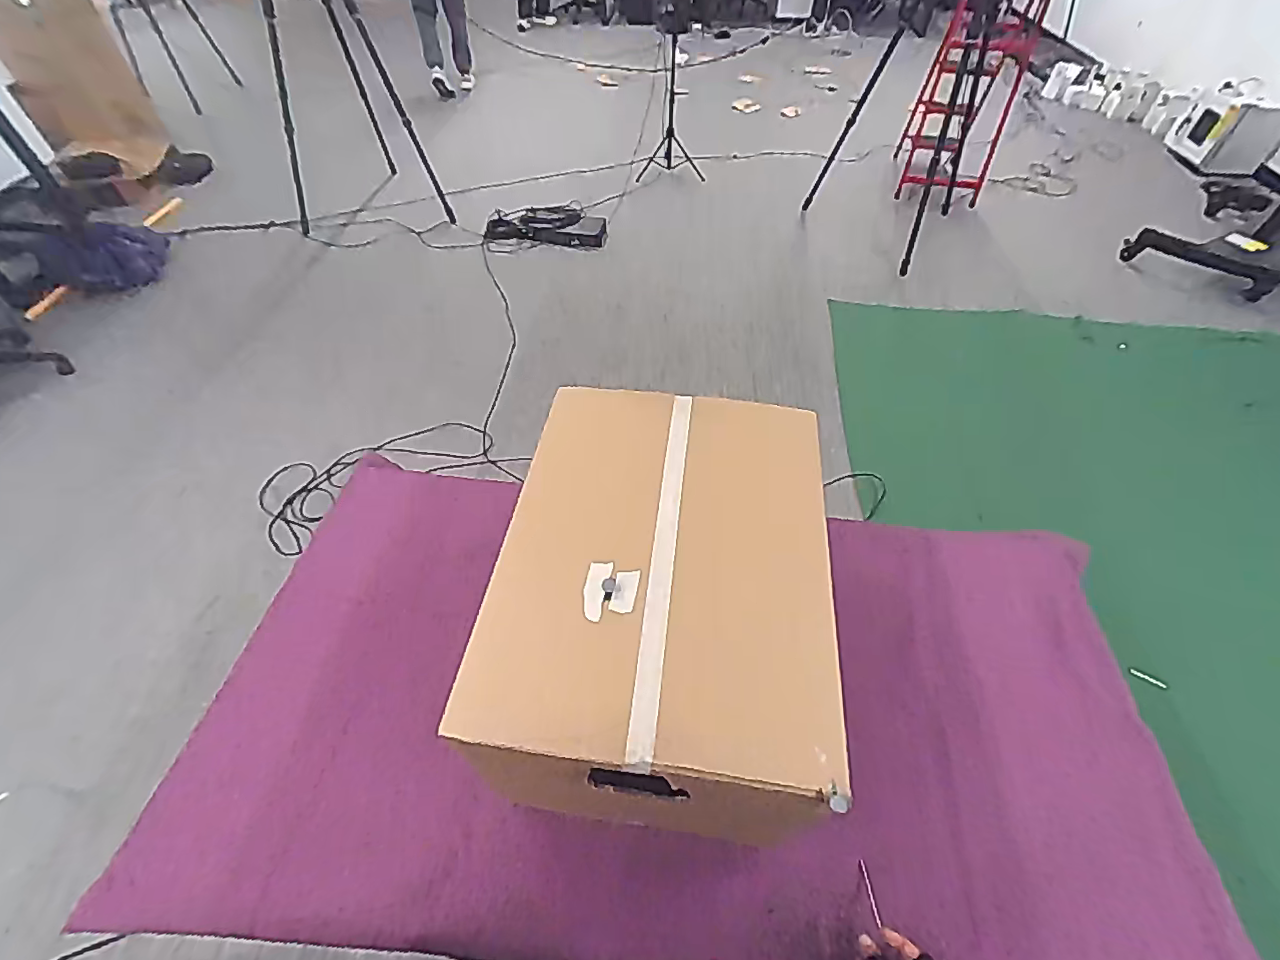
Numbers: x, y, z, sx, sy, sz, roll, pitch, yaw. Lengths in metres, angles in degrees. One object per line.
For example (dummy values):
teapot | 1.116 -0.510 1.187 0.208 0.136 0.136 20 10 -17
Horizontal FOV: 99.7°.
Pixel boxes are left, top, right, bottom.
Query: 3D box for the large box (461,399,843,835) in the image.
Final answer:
large box | 0.026 0.161 0.660 0.320 0.320 0.408 7 52 5
